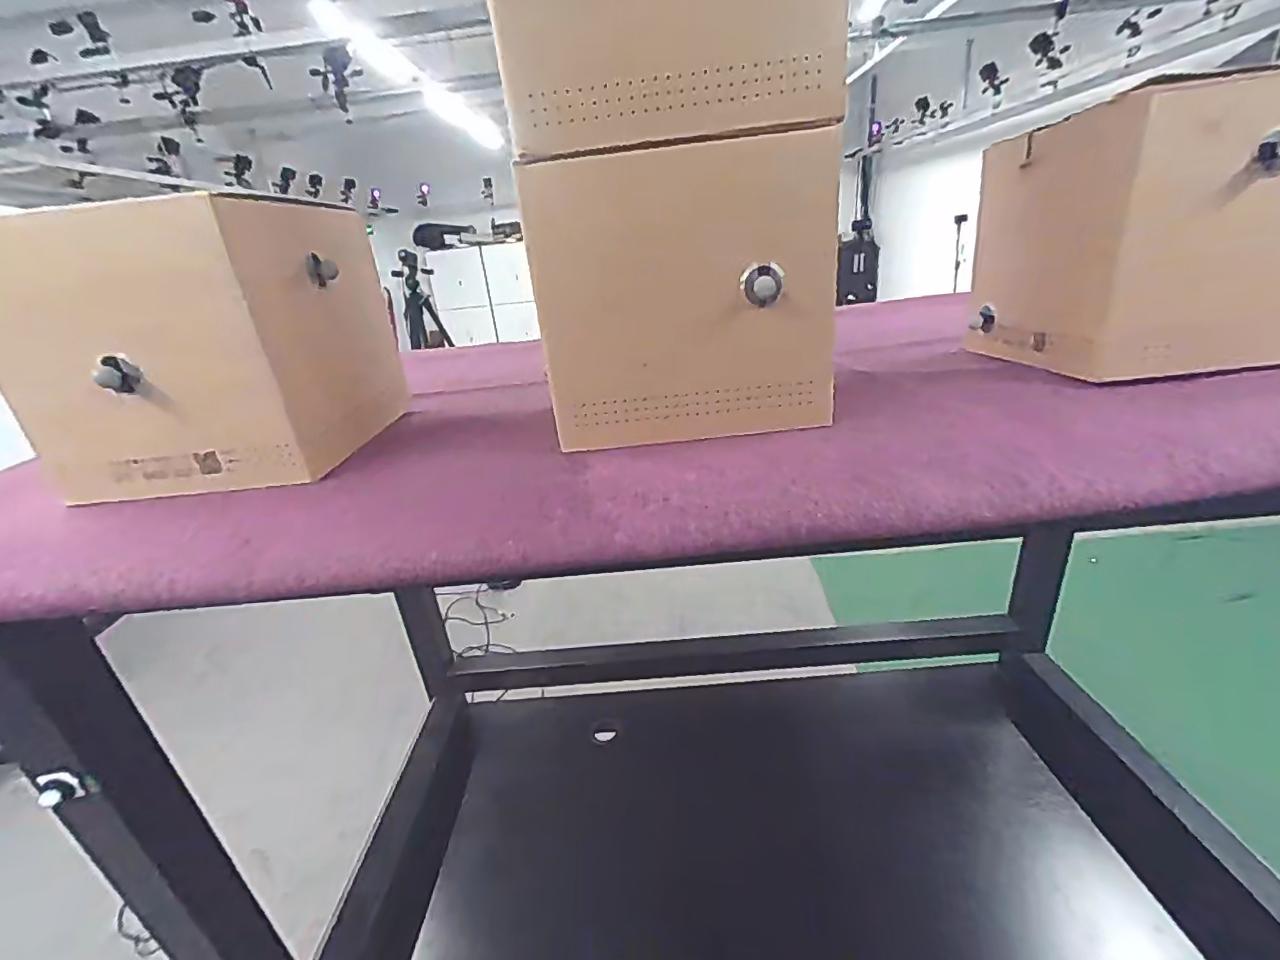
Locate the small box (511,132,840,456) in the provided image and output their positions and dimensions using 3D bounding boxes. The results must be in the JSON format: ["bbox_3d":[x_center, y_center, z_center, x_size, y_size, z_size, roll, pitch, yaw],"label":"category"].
[{"bbox_3d":[0.025,-0.127,0.385,0.179,0.176,0.168,-7,23,2],"label":"small box"}]

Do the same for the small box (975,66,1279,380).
[{"bbox_3d":[0.371,-0.172,0.391,0.179,0.176,0.168,-5,21,4],"label":"small box"}]

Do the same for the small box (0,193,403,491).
[{"bbox_3d":[-0.295,-0.098,0.388,0.168,0.176,0.179,-5,24,1],"label":"small box"}]
